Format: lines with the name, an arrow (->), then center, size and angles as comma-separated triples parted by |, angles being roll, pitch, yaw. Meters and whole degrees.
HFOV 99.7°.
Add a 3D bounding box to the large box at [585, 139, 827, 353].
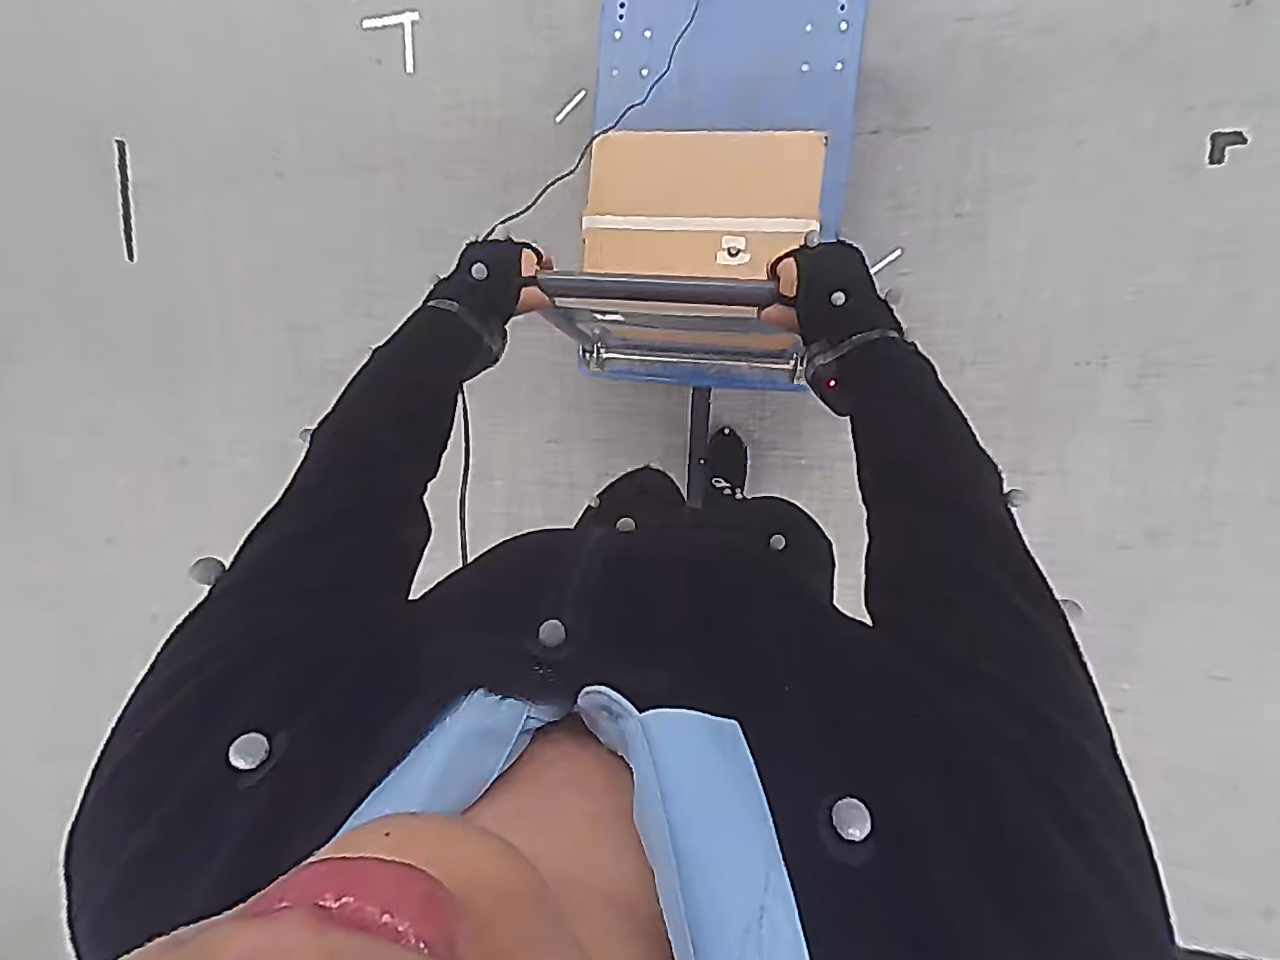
large box -> 0.126, -0.440, 1.084 | 0.408, 0.320, 0.320 | 6, 96, 8
